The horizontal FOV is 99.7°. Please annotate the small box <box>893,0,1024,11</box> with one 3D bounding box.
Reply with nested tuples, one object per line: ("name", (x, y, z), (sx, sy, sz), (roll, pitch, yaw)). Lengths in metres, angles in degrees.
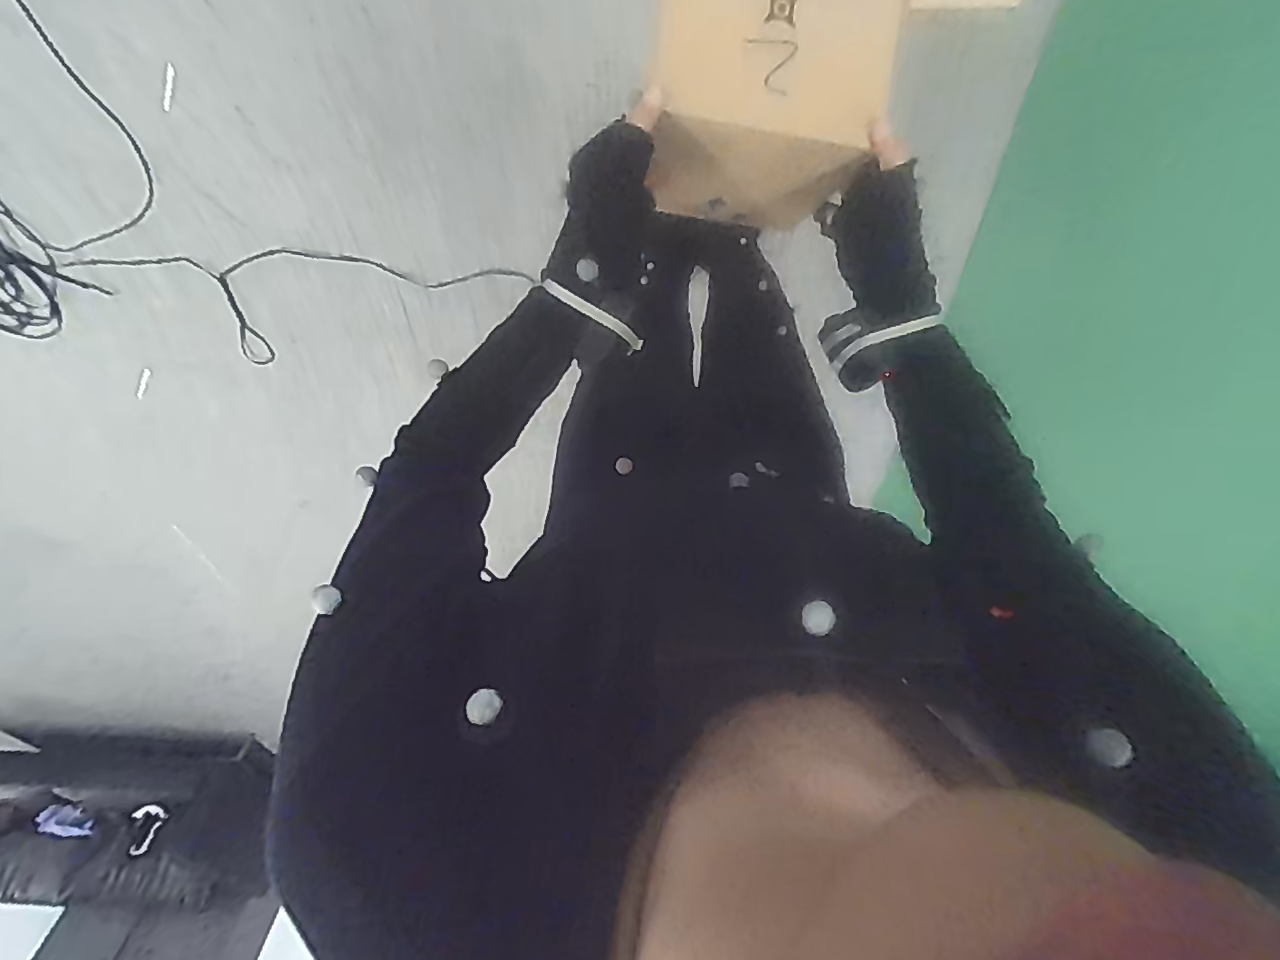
("small box", (0.489, -0.819, 0.803), (0.168, 0.176, 0.179), (1, 133, 3))
